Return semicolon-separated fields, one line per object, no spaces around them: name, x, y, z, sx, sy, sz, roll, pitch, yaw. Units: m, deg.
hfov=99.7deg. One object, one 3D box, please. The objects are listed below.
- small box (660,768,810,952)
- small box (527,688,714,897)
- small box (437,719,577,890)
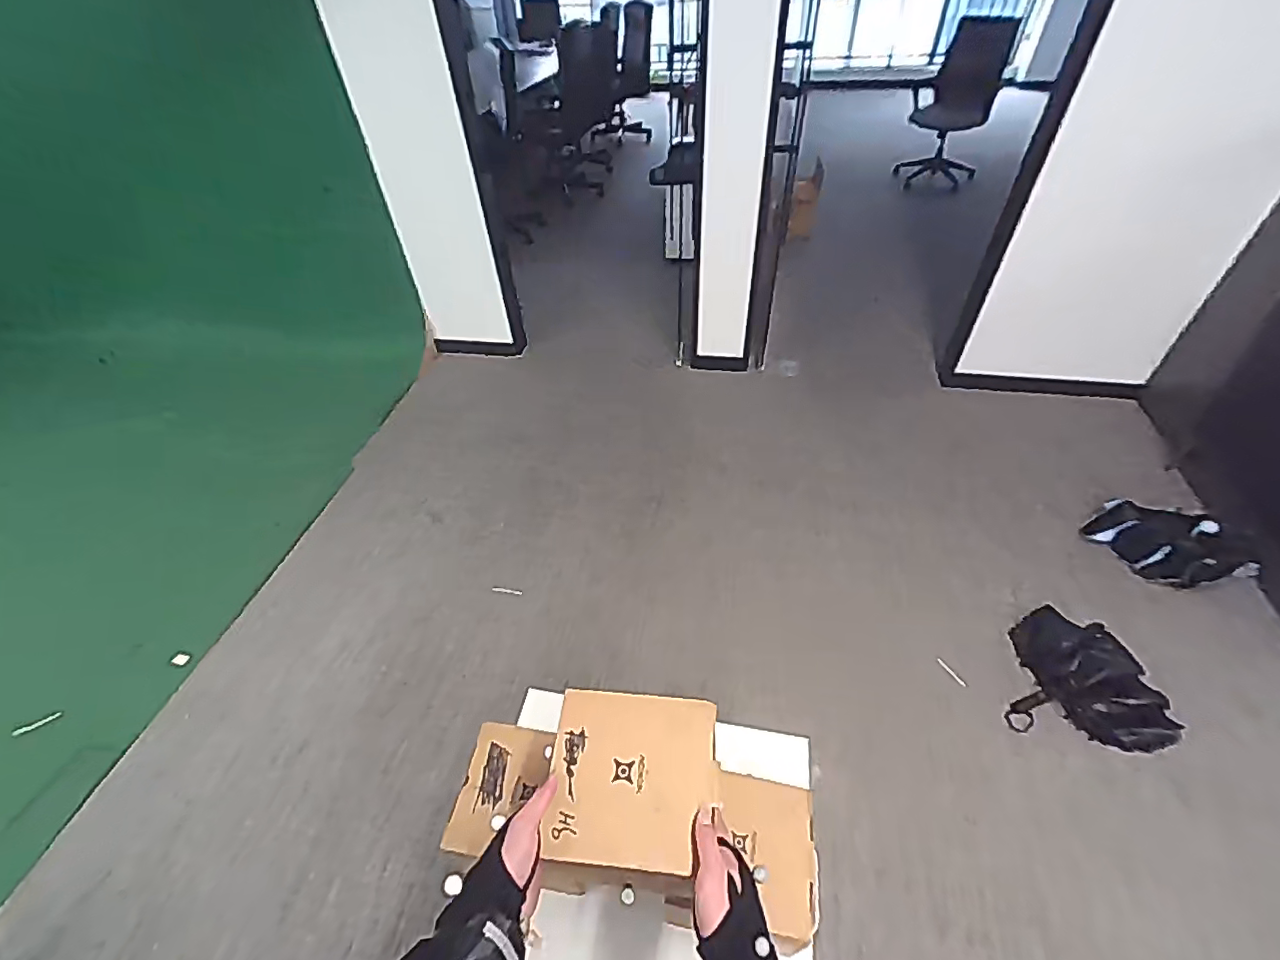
small box;0.130;0.517;0.740;0.179;0.176;0.168;6;45;11
small box;-0.012;0.359;0.618;0.179;0.176;0.168;4;47;5
small box;-0.161;0.477;0.792;0.179;0.176;0.168;7;46;7
